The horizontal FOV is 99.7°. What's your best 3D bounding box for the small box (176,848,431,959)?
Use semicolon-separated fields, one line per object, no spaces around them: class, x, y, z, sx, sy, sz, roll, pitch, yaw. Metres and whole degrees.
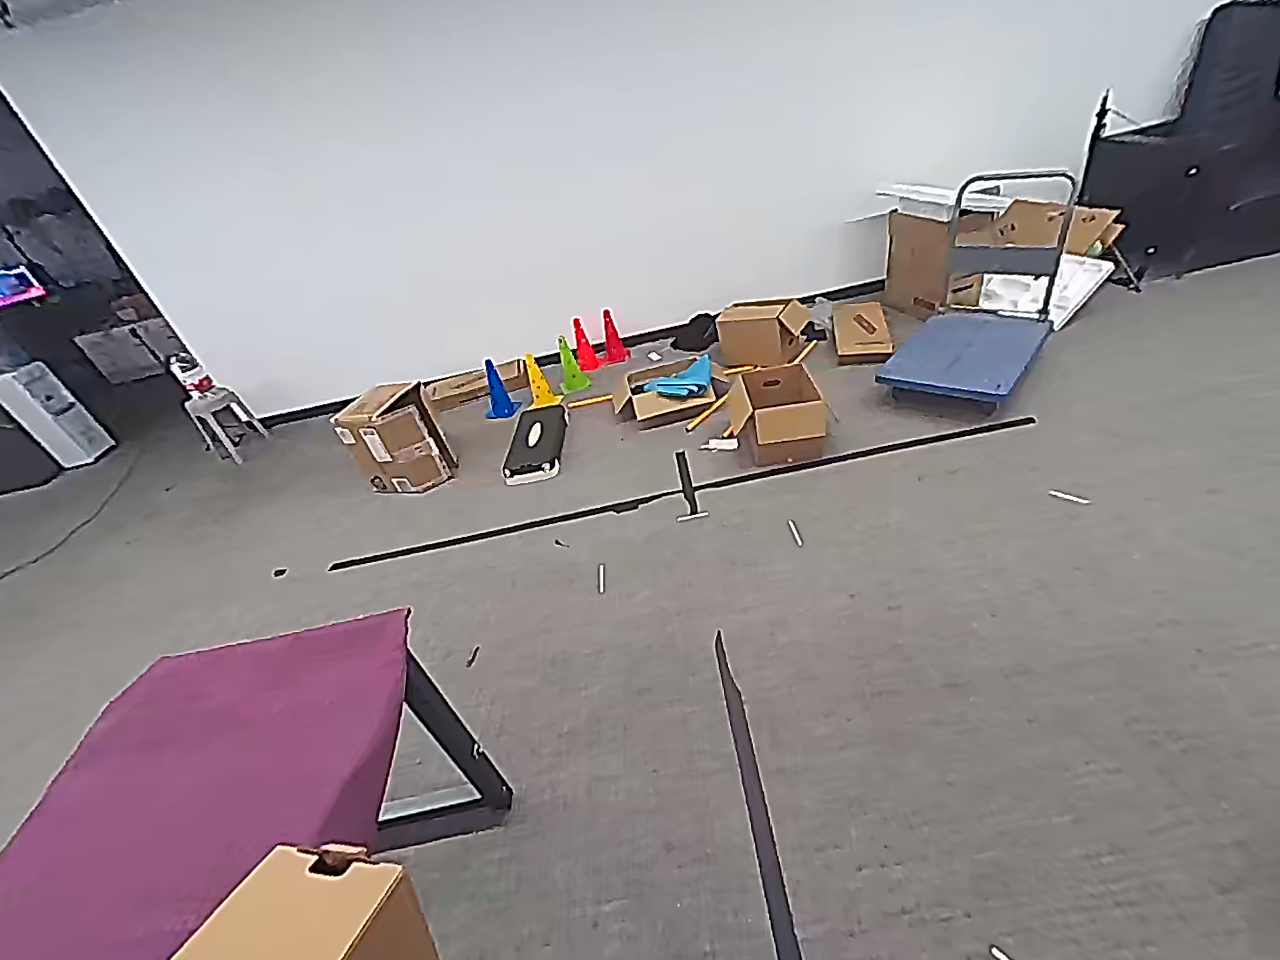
small box;-0.311;0.486;0.491;0.168;0.176;0.179;-4;17;17
